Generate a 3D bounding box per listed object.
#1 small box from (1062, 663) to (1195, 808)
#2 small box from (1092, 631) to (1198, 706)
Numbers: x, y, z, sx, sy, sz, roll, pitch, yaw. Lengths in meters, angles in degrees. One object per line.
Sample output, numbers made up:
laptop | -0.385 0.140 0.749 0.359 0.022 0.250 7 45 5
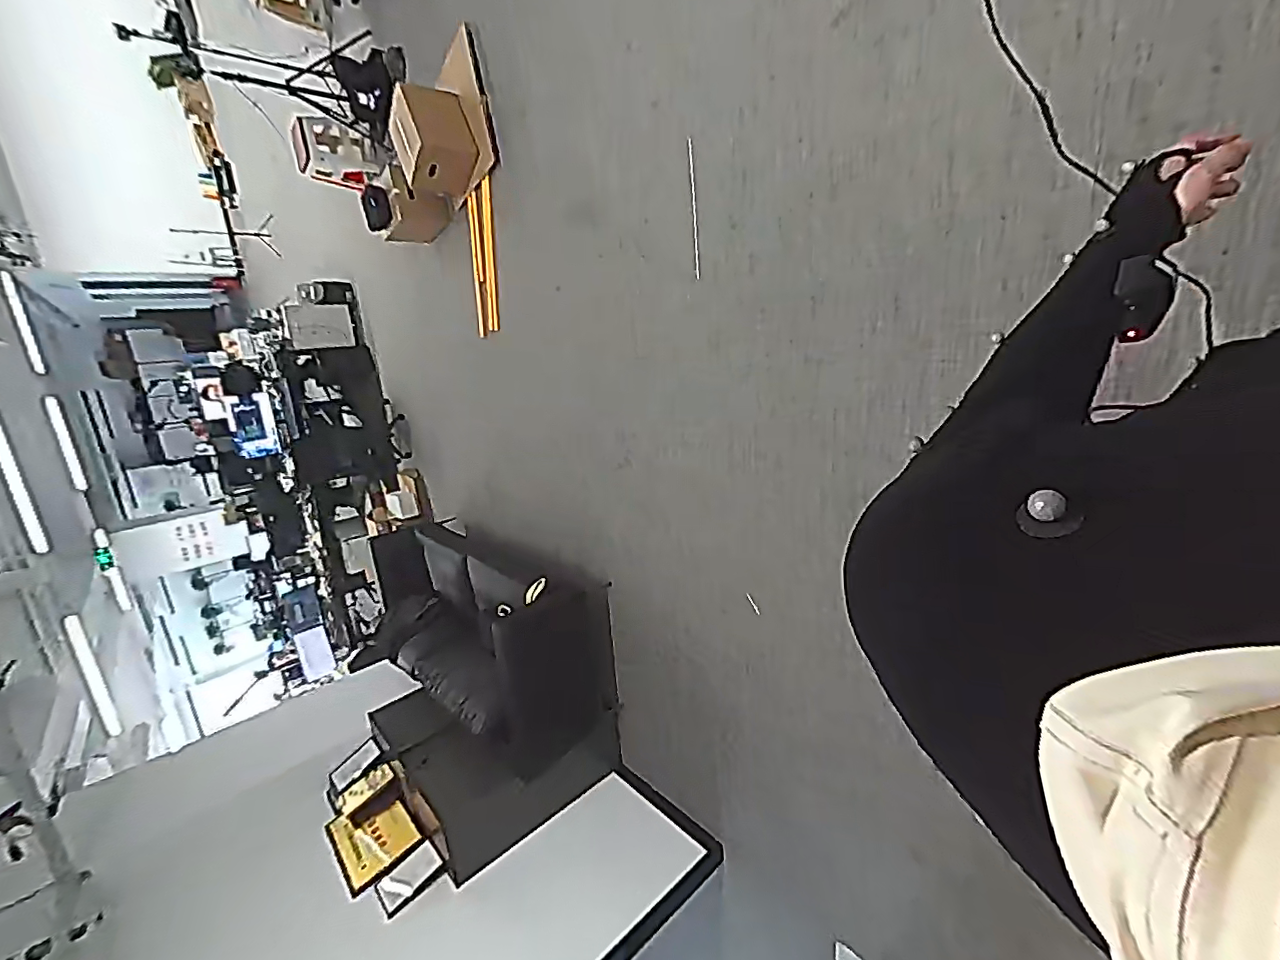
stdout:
small box | 1.011 0.516 1.121 0.168 0.176 0.179 19 118 43
small box | 1.131 0.478 1.226 0.168 0.176 0.179 17 115 44
